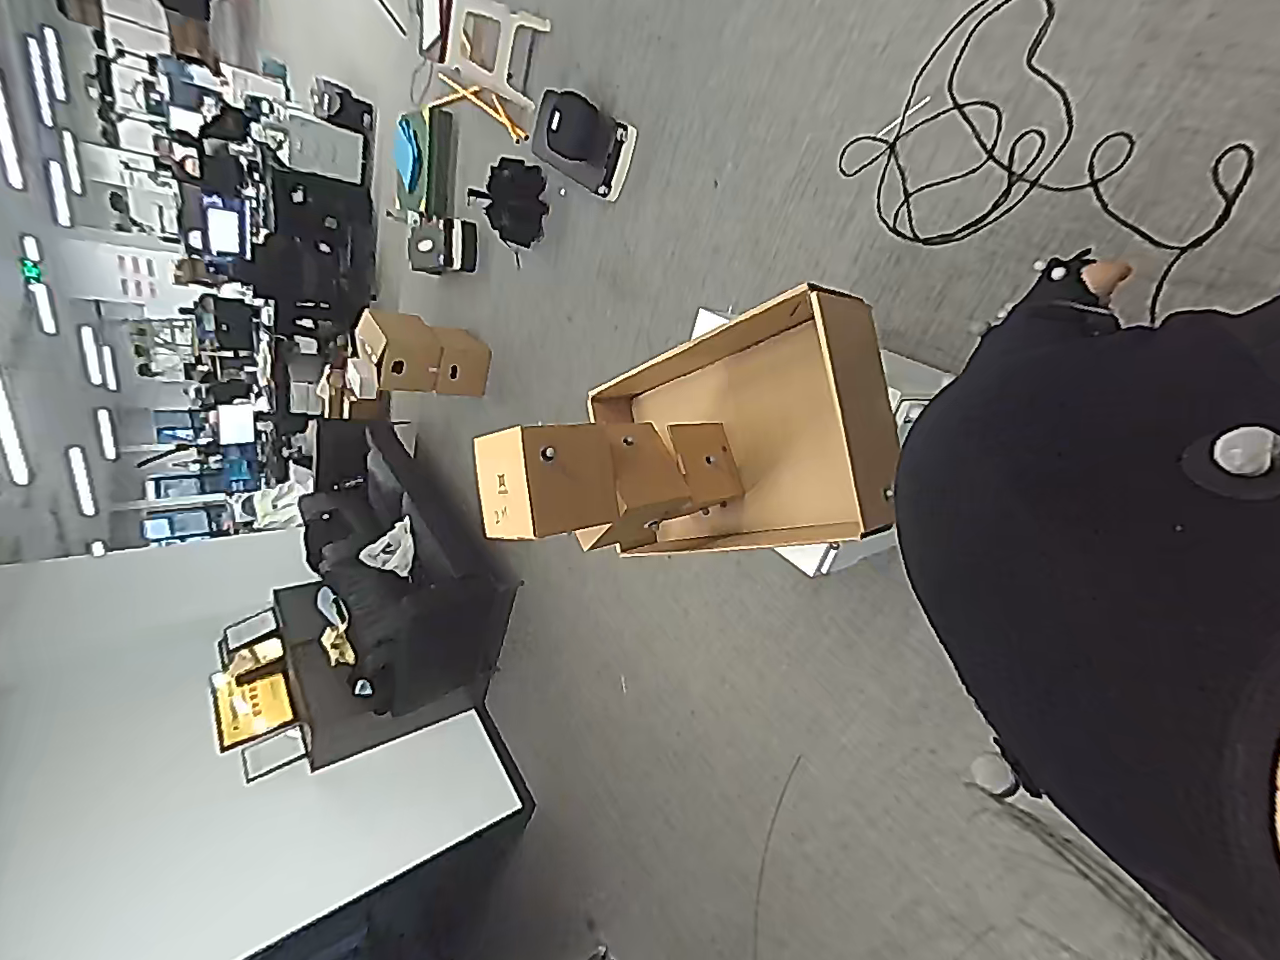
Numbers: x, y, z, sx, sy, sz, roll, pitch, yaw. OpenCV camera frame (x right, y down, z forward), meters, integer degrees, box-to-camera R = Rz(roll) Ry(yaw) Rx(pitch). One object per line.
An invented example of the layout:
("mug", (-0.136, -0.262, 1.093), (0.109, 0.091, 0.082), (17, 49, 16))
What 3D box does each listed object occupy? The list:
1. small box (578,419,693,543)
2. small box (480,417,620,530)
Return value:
("small box", (-0.033, -0.003, 1.050), (0.168, 0.176, 0.179), (-48, 63, 42))
("small box", (-0.155, -0.013, 0.936), (0.168, 0.176, 0.179), (-5, 93, 49))
